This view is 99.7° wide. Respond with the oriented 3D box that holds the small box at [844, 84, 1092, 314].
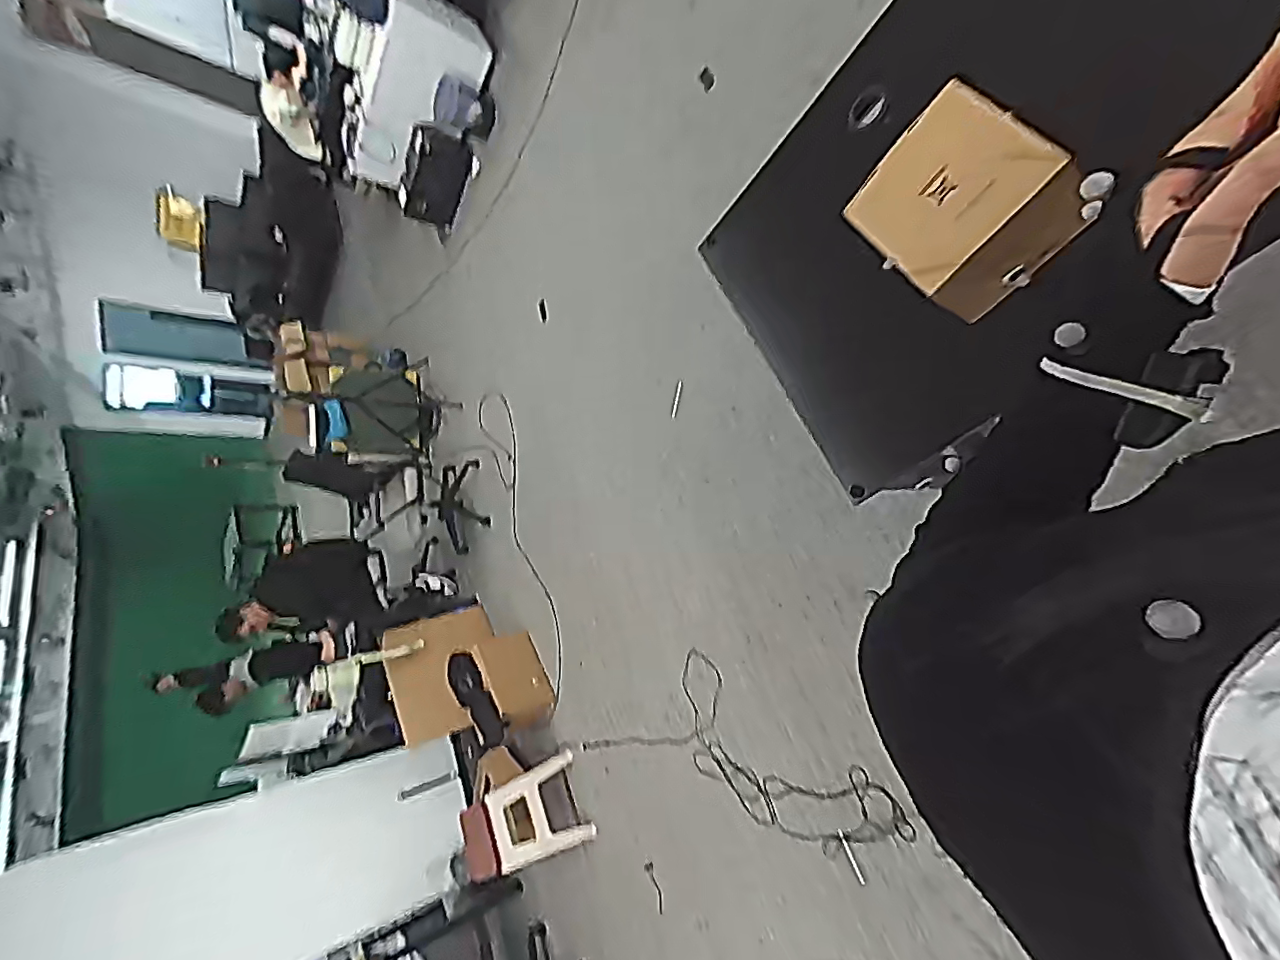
[{"bbox_3d":[0.398,-0.327,0.663,0.168,0.176,0.179,-51,55,36],"label":"small box"}]
